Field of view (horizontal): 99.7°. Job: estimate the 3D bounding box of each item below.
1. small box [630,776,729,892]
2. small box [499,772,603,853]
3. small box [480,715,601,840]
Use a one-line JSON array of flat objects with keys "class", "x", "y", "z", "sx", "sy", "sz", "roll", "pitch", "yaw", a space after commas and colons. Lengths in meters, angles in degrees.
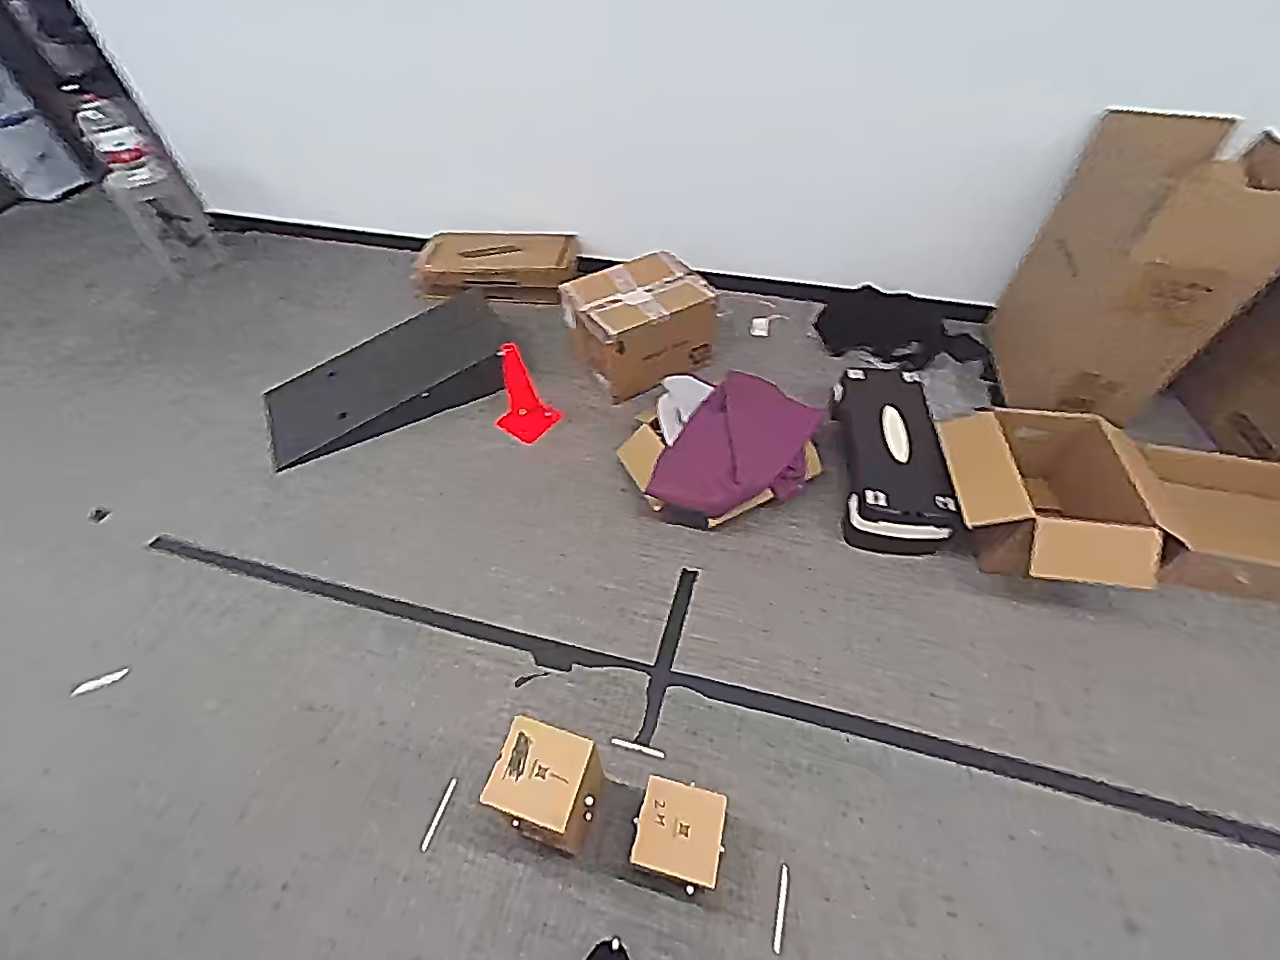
[{"class": "small box", "x": 0.087, "y": 0.768, "z": 1.174, "sx": 0.179, "sy": 0.176, "sz": 0.168, "roll": 11, "pitch": 53, "yaw": 11}, {"class": "small box", "x": -0.191, "y": 0.718, "z": 1.225, "sx": 0.168, "sy": 0.176, "sz": 0.179, "roll": 13, "pitch": 53, "yaw": 13}, {"class": "small box", "x": -0.192, "y": 0.609, "z": 1.100, "sx": 0.179, "sy": 0.176, "sz": 0.168, "roll": 13, "pitch": 53, "yaw": 12}]
